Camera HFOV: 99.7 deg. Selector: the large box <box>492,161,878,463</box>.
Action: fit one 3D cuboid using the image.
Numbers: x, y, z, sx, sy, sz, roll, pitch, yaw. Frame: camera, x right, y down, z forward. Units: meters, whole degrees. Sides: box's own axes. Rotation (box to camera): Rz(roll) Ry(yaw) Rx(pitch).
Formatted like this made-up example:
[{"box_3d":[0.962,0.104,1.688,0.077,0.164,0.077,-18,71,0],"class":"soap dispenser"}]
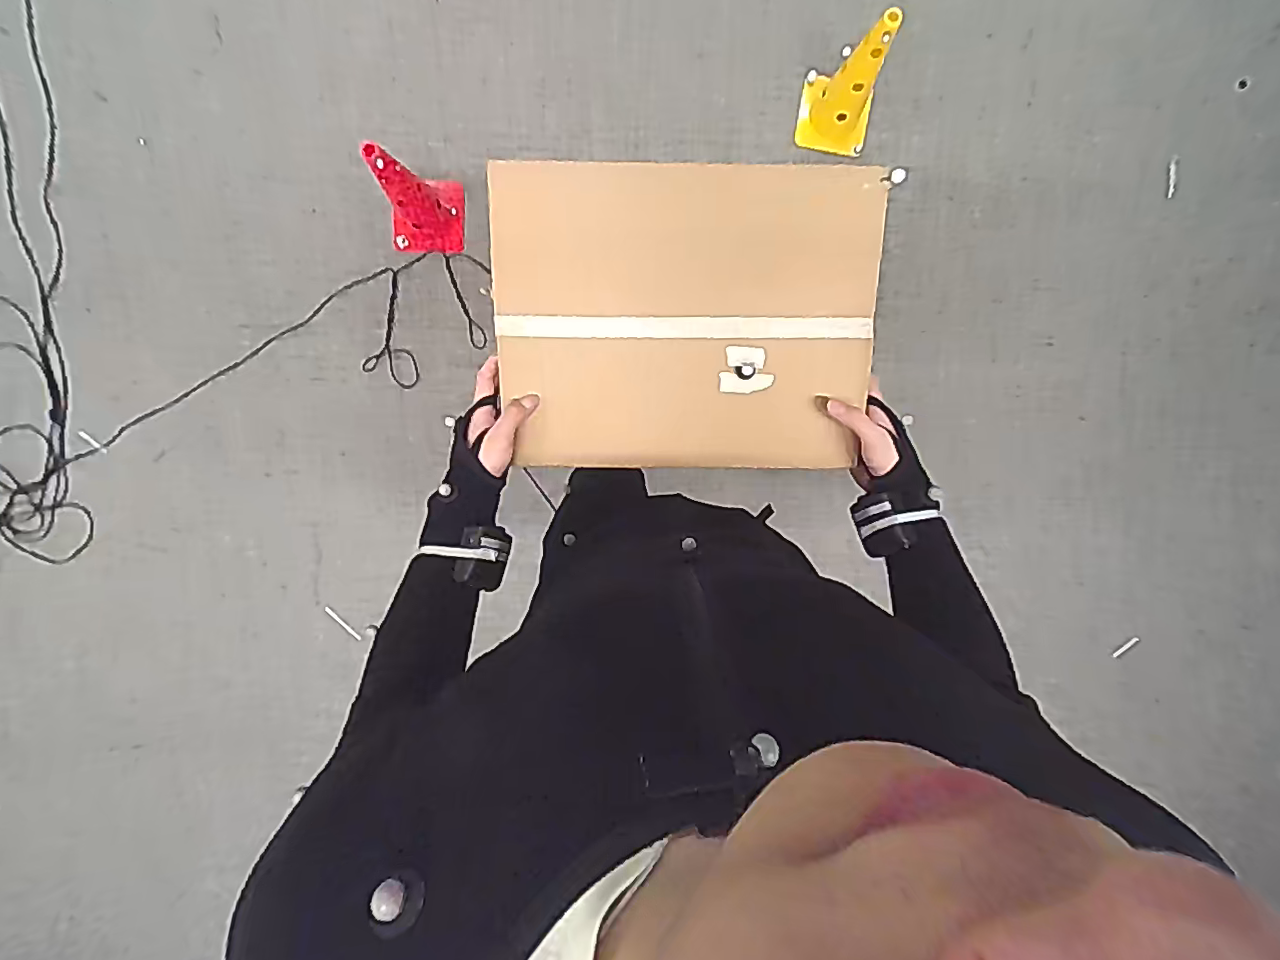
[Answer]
[{"box_3d":[0.045,-0.210,0.731,0.408,0.320,0.320,-1,106,-1],"class":"large box"}]
